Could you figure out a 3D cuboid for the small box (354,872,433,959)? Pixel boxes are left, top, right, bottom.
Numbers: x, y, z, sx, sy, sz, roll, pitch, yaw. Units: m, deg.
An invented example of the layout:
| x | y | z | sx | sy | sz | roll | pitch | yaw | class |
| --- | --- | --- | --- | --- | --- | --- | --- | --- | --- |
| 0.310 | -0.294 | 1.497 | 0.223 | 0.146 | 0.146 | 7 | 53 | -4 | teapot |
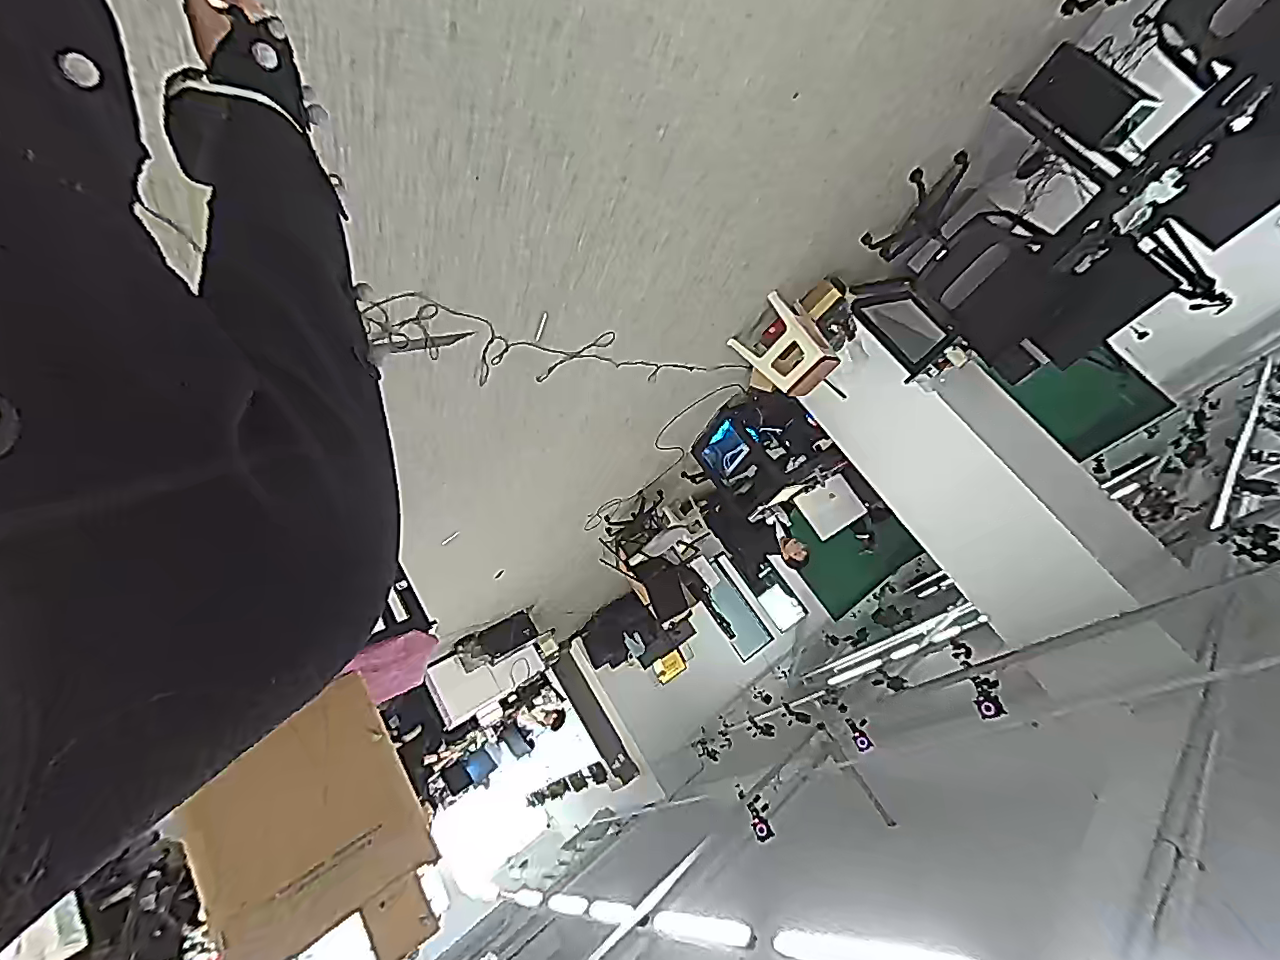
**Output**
| x | y | z | sx | sy | sz | roll | pitch | yaw | class |
| --- | --- | --- | --- | --- | --- | --- | --- | --- | --- |
| -0.773 | 1.369 | 1.700 | 0.179 | 0.176 | 0.168 | -22 | 158 | -33 | small box |
